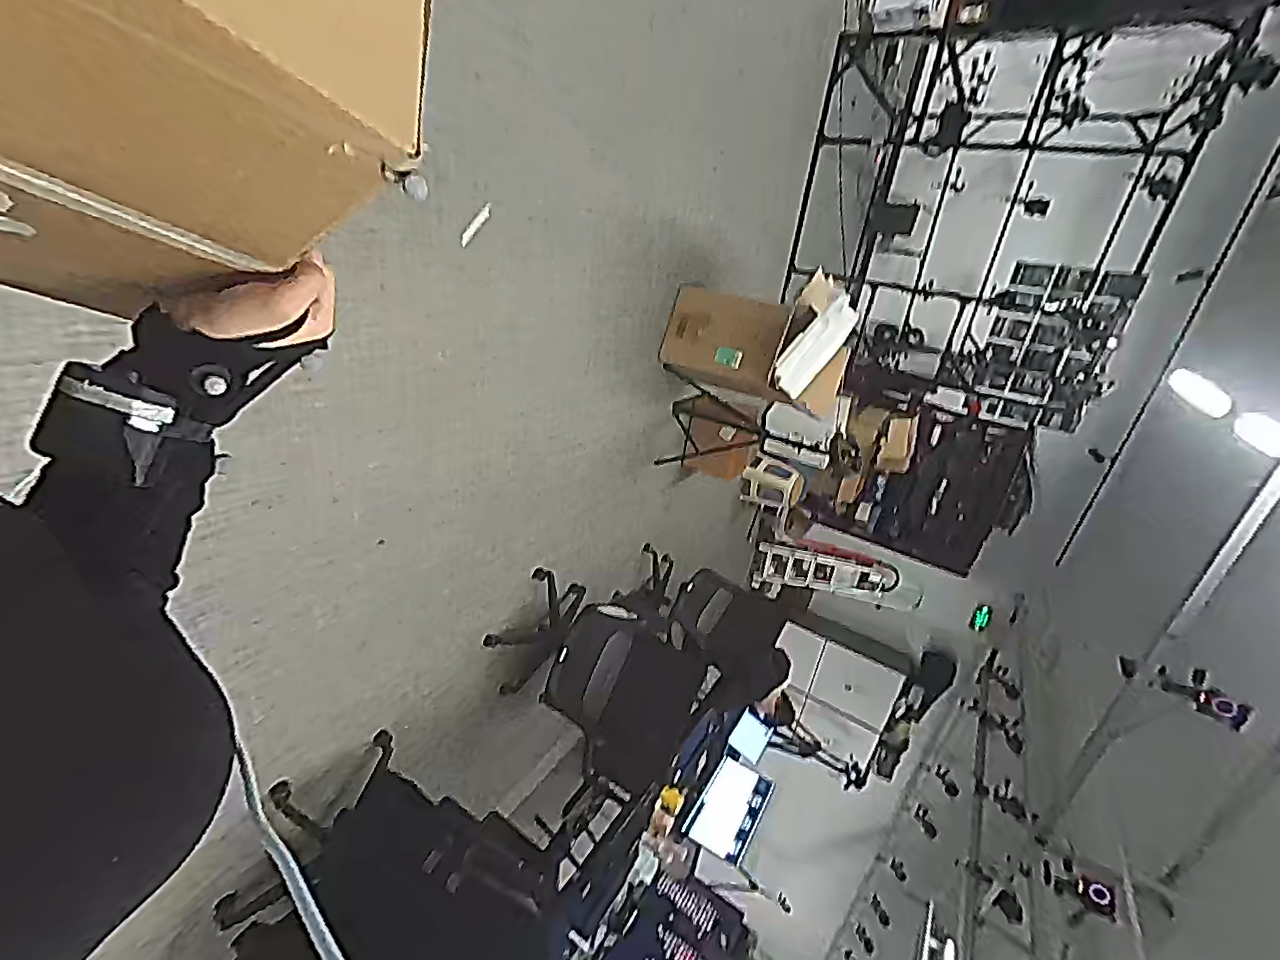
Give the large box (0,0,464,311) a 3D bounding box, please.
[{"bbox_3d":[-0.330,-0.324,0.210,0.408,0.320,0.320,10,74,-53],"label":"large box"}]
